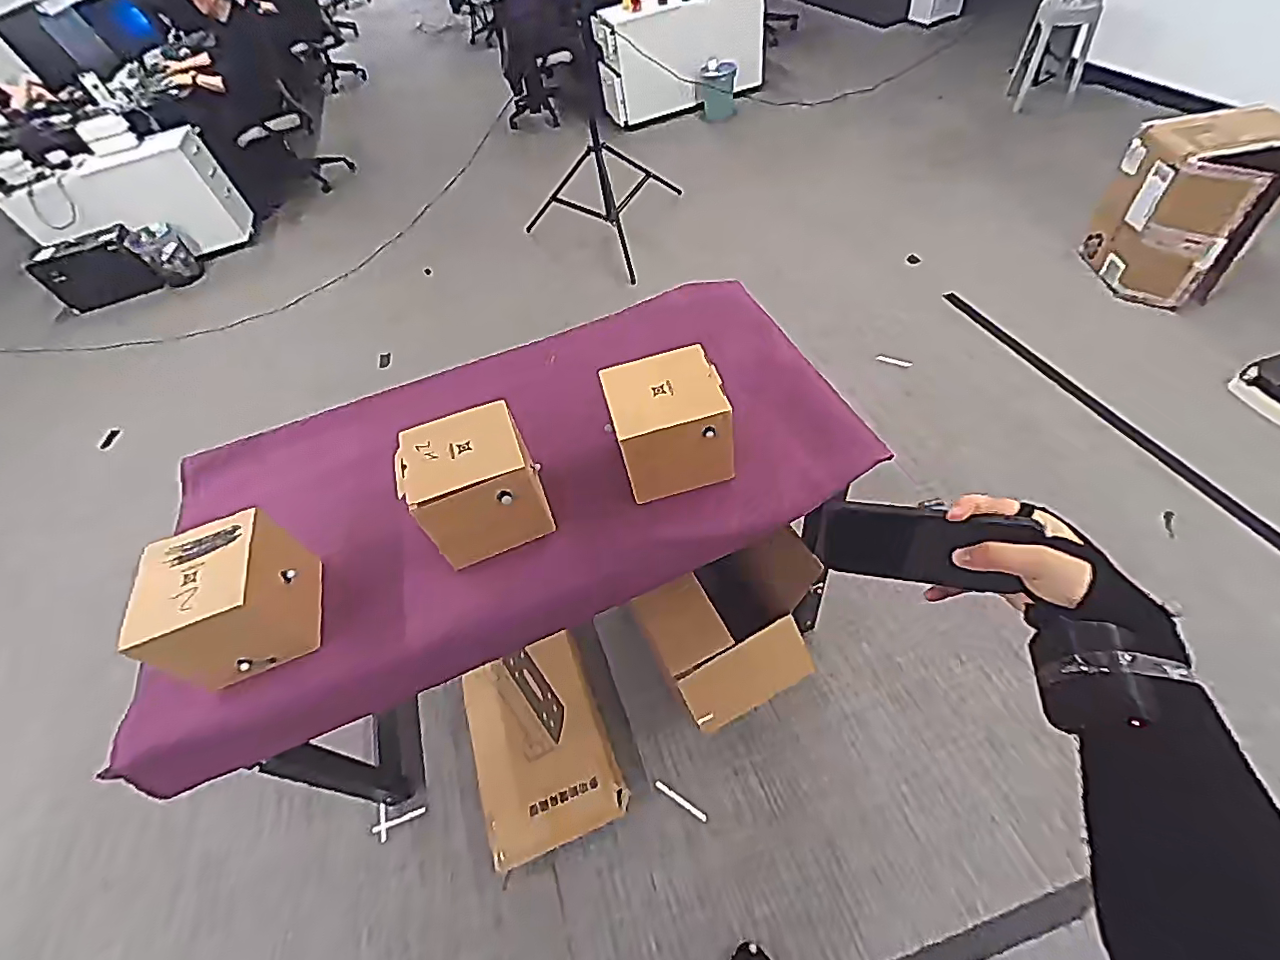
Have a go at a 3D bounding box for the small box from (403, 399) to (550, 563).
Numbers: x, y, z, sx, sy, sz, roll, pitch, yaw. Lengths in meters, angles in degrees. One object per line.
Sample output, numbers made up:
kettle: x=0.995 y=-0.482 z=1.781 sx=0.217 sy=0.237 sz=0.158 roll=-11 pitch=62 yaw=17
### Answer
small box: x=-0.255 y=0.004 z=0.874 sx=0.179 sy=0.176 sz=0.168 roll=-22 pitch=50 yaw=-6

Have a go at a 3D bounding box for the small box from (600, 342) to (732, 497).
small box: x=0.047 y=-0.095 z=0.896 sx=0.179 sy=0.176 sz=0.168 roll=-16 pitch=52 yaw=-2
